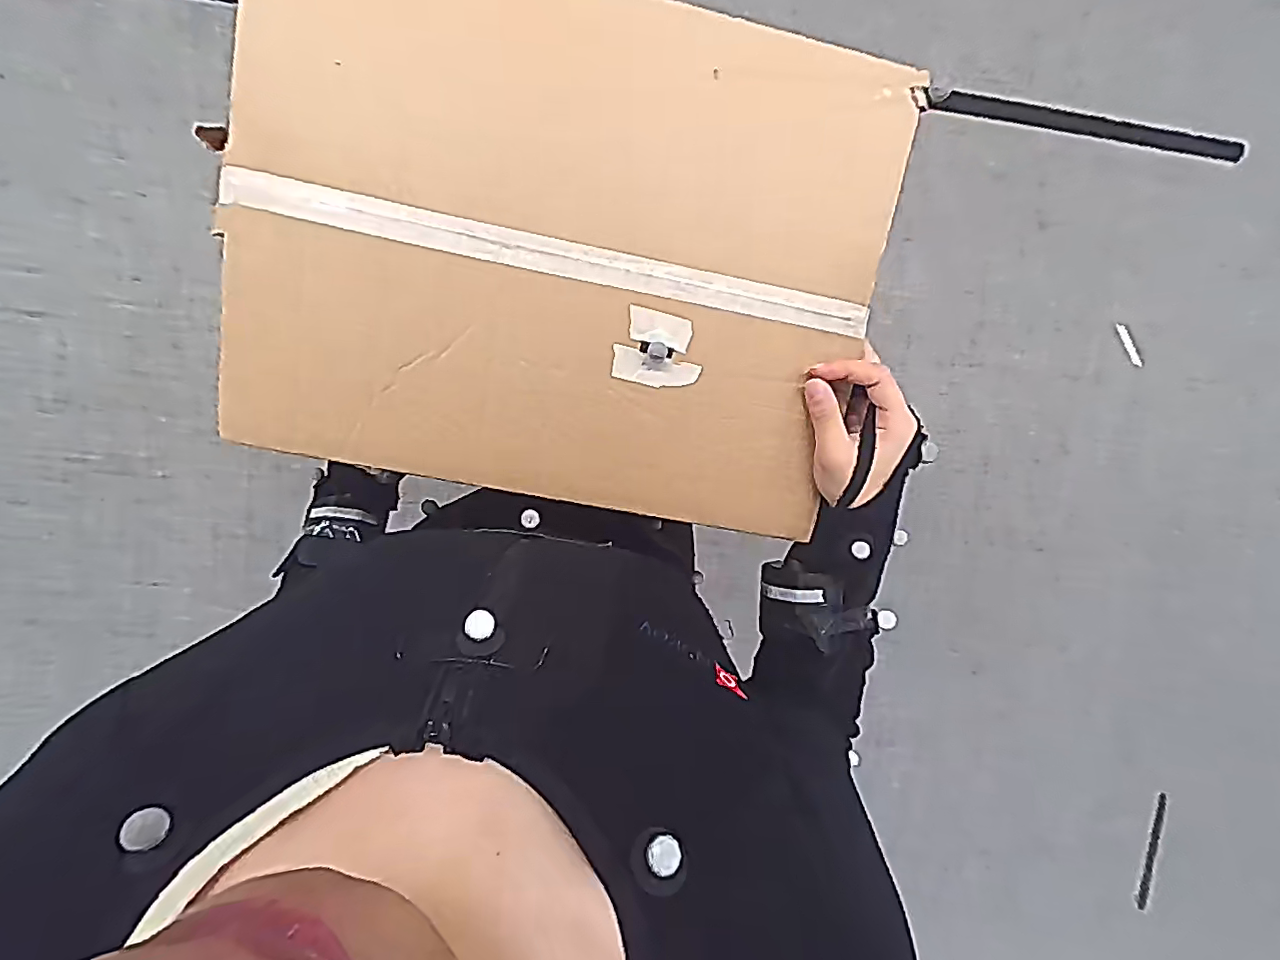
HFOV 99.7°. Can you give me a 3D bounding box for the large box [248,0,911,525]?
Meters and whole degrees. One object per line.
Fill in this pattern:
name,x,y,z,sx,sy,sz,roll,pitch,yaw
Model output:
large box,-0.055,-0.169,0.501,0.408,0.320,0.320,9,101,-7
